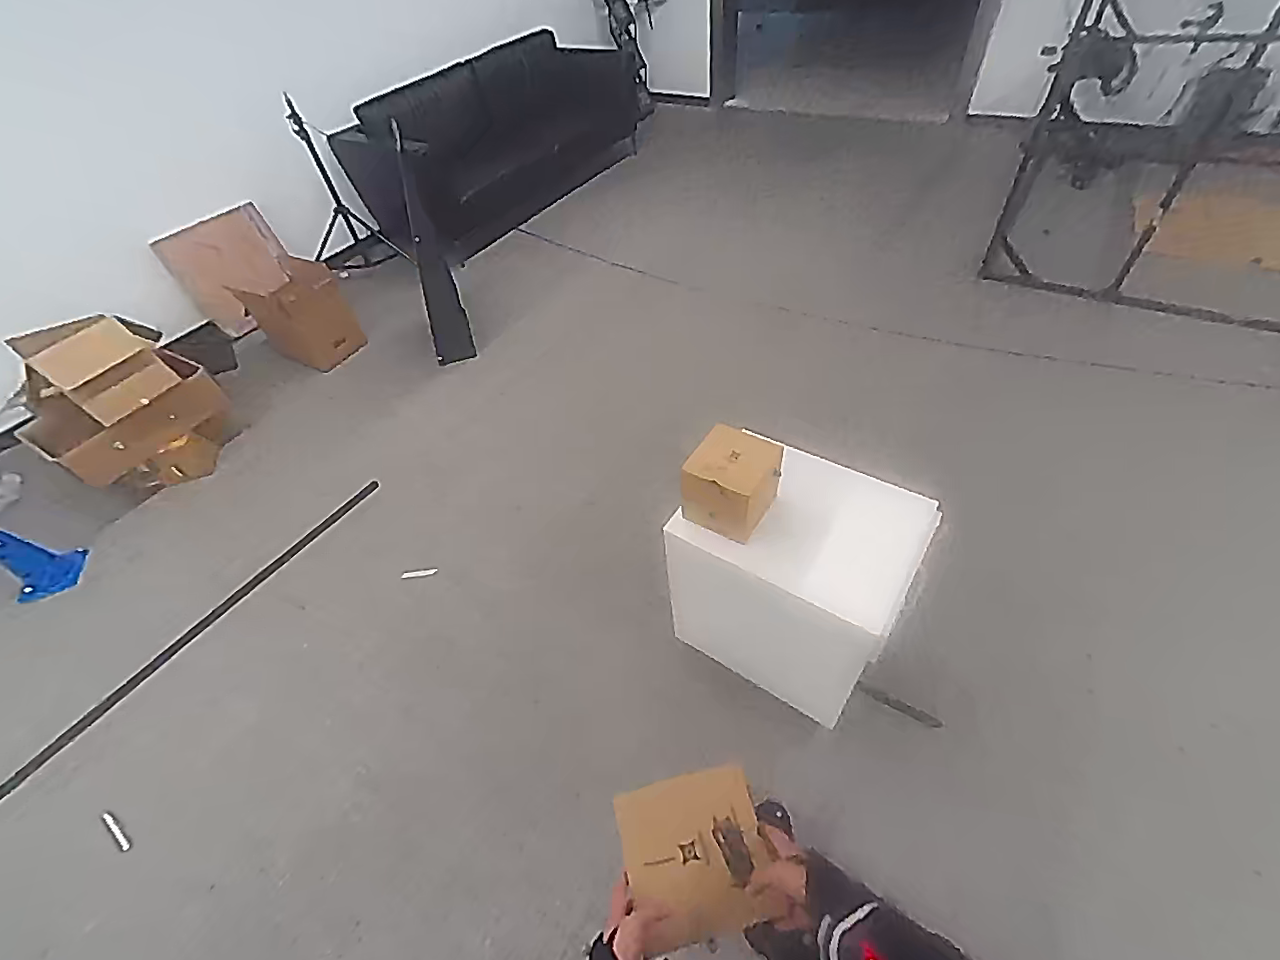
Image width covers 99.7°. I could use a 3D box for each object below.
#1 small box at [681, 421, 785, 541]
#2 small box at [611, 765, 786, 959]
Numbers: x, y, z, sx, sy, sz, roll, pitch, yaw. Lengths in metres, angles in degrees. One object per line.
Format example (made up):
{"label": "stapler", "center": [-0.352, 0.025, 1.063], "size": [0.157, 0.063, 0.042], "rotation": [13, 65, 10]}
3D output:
{"label": "small box", "center": [0.206, 0.003, 1.218], "size": [0.168, 0.176, 0.179], "rotation": [24, 56, 26]}
{"label": "small box", "center": [0.071, 0.501, 0.715], "size": [0.179, 0.176, 0.168], "rotation": [-15, 52, -4]}
